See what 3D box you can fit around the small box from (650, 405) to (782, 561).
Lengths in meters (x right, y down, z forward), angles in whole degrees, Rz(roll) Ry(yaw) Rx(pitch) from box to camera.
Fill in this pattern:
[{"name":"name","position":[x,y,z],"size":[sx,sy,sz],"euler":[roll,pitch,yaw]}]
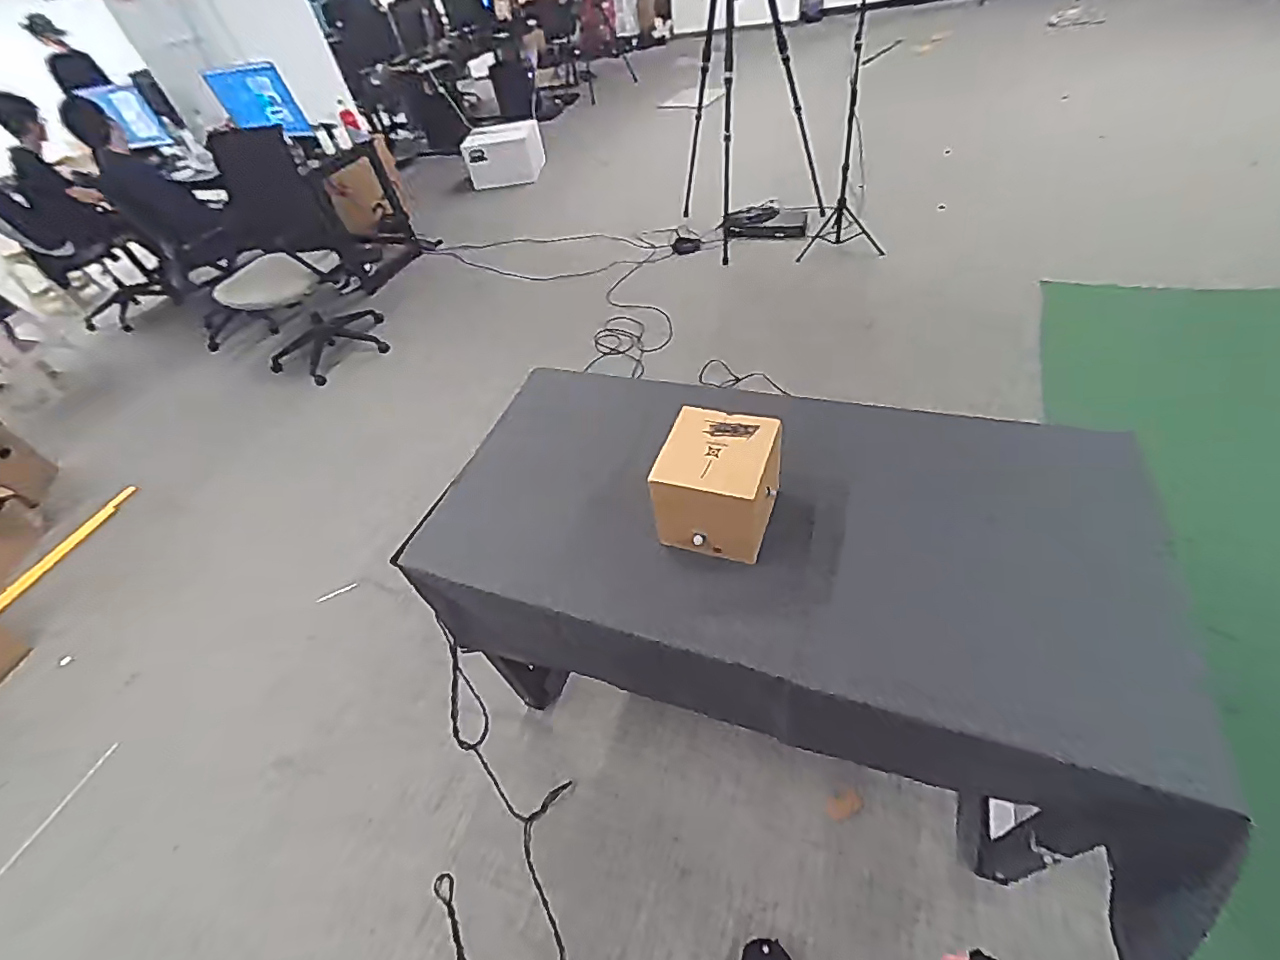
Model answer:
[{"name":"small box","position":[0.130,0.003,0.895],"size":[0.168,0.176,0.179],"euler":[11,51,22]}]
